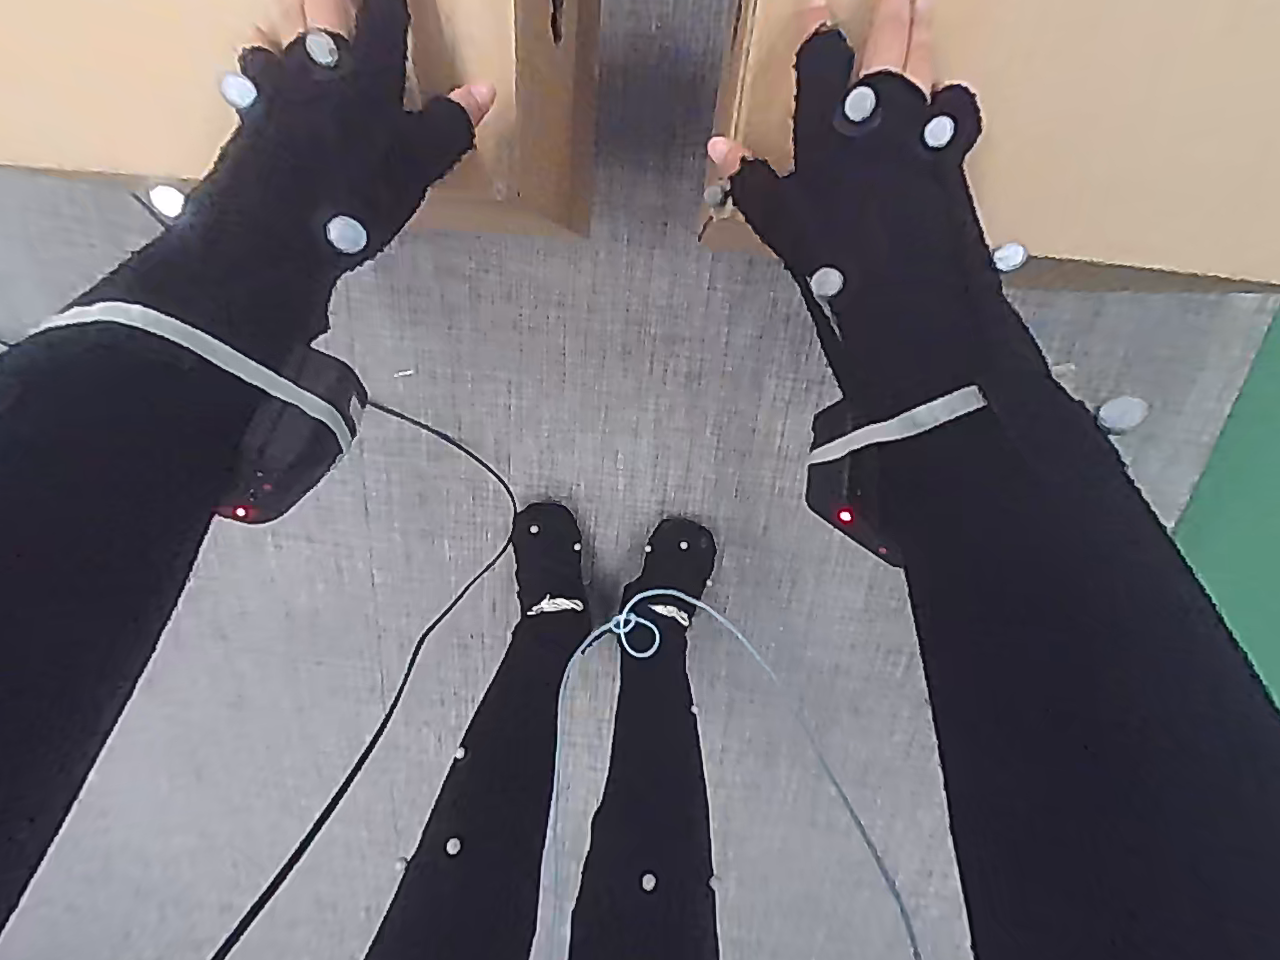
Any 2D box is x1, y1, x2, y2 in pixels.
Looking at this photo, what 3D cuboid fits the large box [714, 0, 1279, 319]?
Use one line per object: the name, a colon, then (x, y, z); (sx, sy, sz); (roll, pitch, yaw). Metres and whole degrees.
large box: (0.291, -0.325, 0.453); (0.408, 0.320, 0.320); (8, 109, 2)
